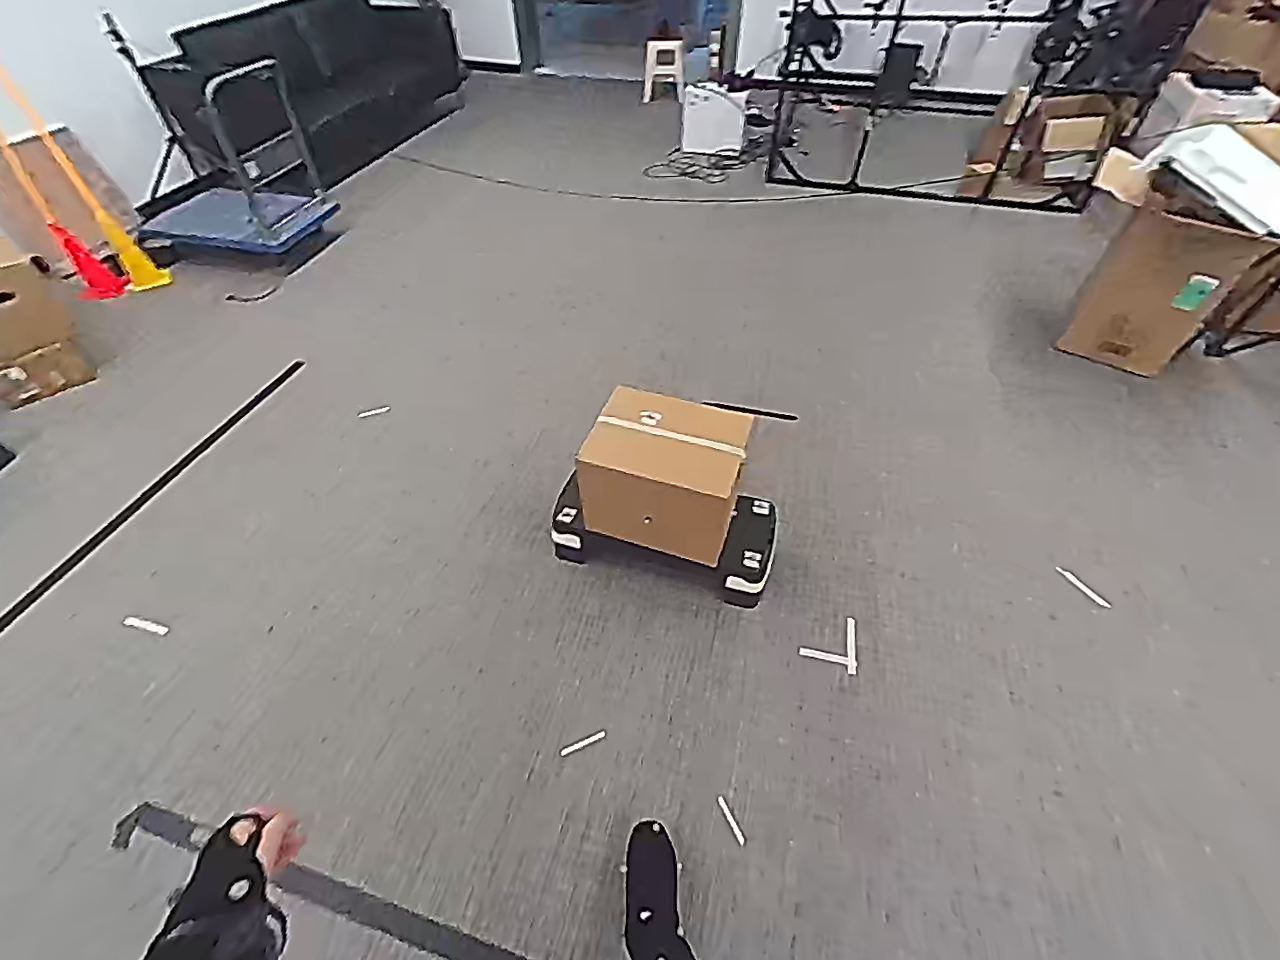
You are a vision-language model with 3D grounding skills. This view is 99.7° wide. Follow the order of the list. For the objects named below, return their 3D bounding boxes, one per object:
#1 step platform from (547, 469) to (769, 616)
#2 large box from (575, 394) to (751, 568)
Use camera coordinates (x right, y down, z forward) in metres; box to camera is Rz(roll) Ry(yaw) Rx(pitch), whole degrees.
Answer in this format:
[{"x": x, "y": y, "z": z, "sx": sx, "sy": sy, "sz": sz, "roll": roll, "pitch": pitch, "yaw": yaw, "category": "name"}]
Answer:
[{"x": 0.054, "y": 0.165, "z": 1.703, "sx": 0.684, "sy": 0.204, "sz": 0.286, "roll": 16, "pitch": 50, "yaw": 15, "category": "step platform"}, {"x": 0.075, "y": 0.003, "z": 1.528, "sx": 0.408, "sy": 0.320, "sz": 0.320, "roll": 14, "pitch": 49, "yaw": 14, "category": "large box"}]
